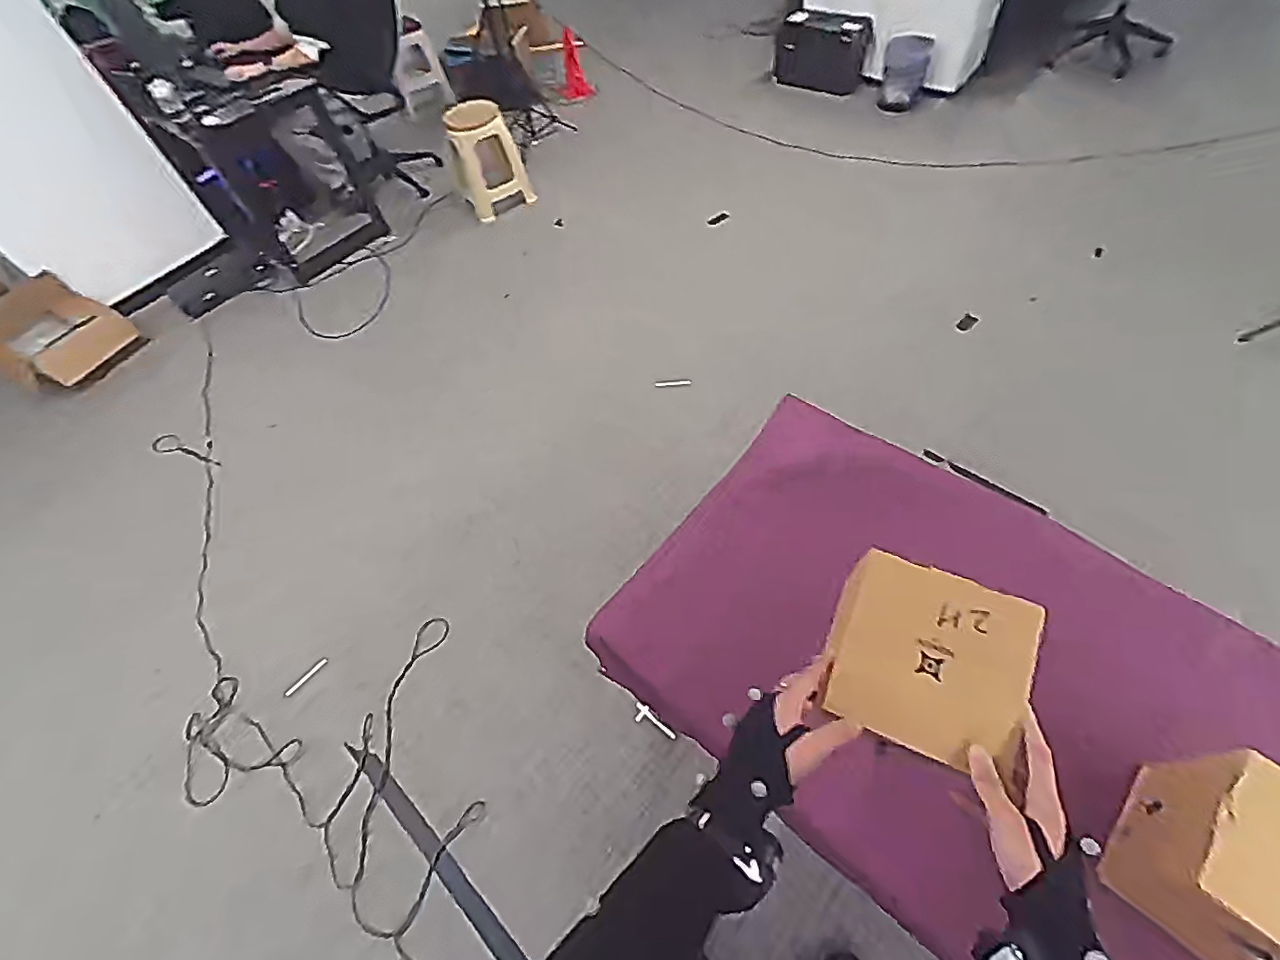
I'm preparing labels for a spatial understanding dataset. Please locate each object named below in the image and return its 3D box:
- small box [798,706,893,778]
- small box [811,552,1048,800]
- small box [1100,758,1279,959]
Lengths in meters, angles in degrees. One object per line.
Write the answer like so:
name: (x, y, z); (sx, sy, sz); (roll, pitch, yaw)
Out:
small box: (0.488, 0.563, 1.251); (0.179, 0.176, 0.168); (32, 66, 22)
small box: (0.292, 0.204, 0.583); (0.168, 0.176, 0.179); (20, 73, 18)
small box: (0.659, 0.431, 0.575); (0.179, 0.176, 0.168); (36, 68, 27)
